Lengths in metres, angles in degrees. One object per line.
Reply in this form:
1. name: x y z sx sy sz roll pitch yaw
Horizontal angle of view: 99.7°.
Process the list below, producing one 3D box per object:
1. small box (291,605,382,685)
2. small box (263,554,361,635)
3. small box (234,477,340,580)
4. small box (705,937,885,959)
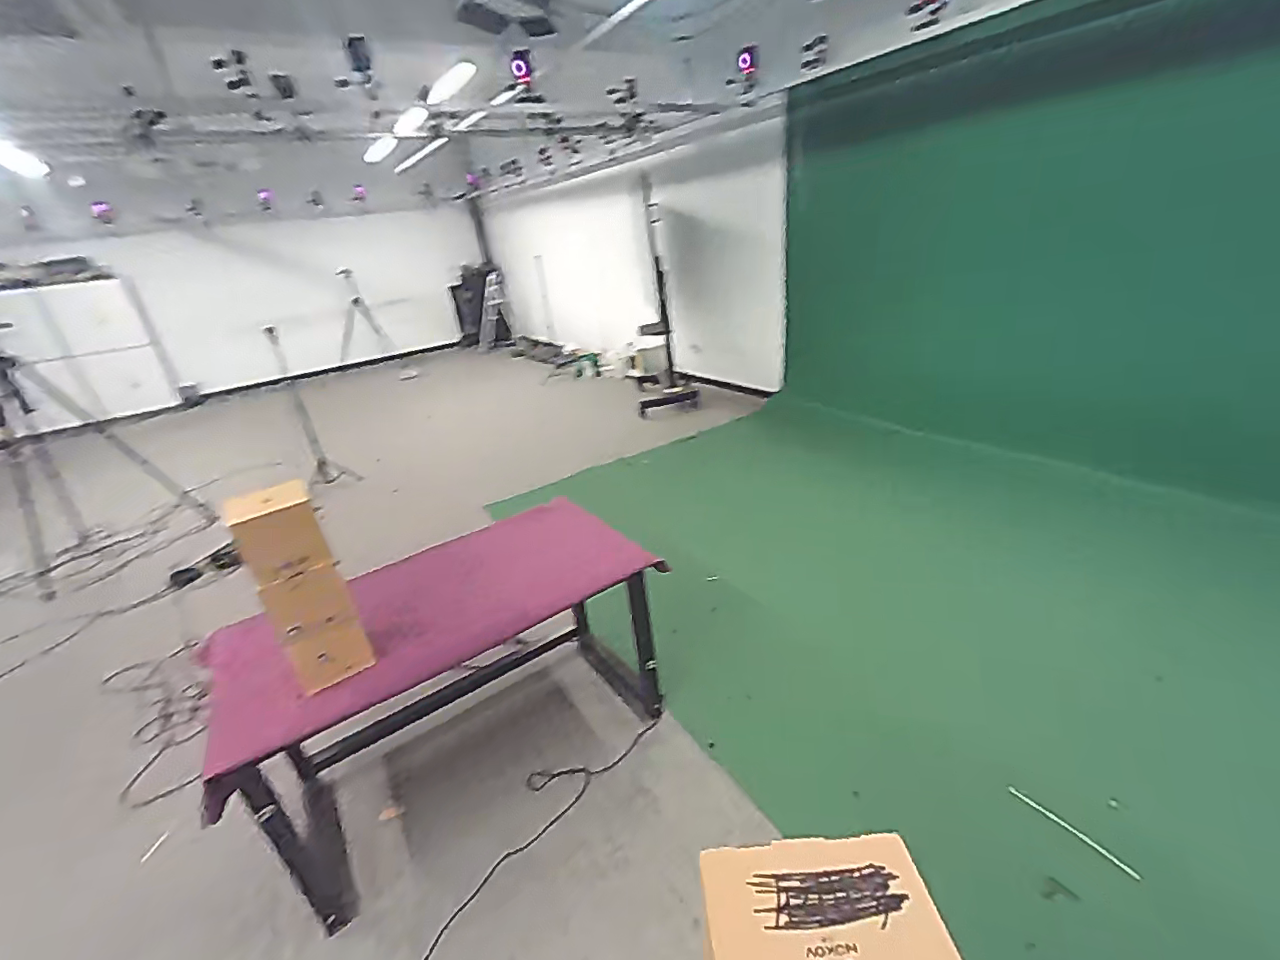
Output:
1. small box: -0.808 0.412 1.434 0.168 0.176 0.179 -23 29 -30
2. small box: -0.826 0.264 1.364 0.168 0.176 0.179 -22 28 -29
3. small box: -0.848 0.114 1.303 0.168 0.176 0.179 -23 29 -29
4. small box: 0.148 0.544 0.464 0.168 0.176 0.179 -4 22 2
